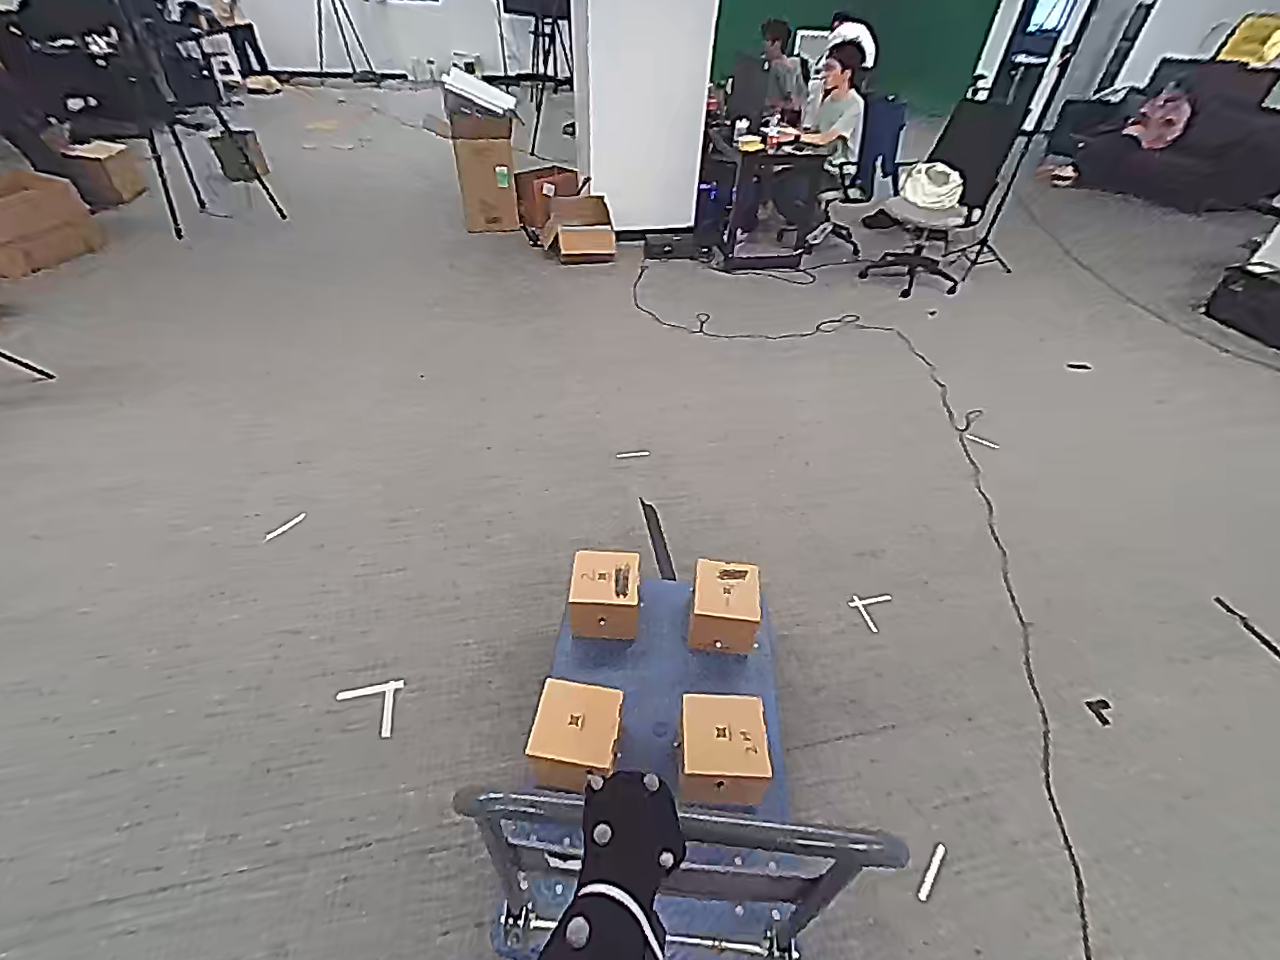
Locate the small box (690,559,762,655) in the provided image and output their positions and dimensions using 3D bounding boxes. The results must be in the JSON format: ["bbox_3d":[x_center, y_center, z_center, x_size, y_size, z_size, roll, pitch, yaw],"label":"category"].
[{"bbox_3d":[0.227,0.339,1.445,0.168,0.176,0.179,6,44,4],"label":"small box"}]

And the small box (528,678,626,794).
[{"bbox_3d":[-0.132,0.563,1.185,0.179,0.176,0.168,9,43,4],"label":"small box"}]

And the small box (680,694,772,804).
[{"bbox_3d":[0.177,0.585,1.175,0.179,0.176,0.168,3,43,1],"label":"small box"}]
